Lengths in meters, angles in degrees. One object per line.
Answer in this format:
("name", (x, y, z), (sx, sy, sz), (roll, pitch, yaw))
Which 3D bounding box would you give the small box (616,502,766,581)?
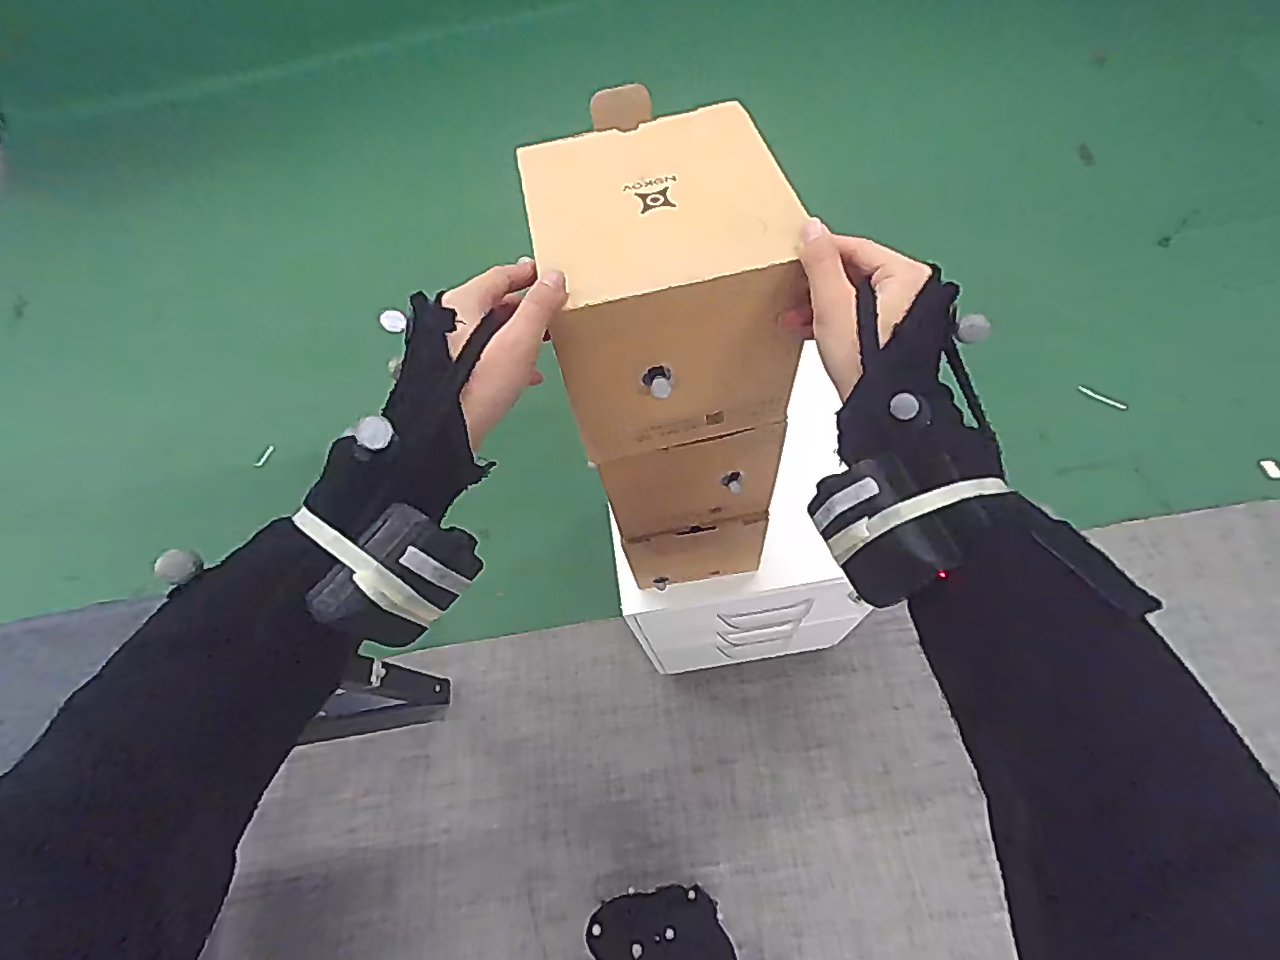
("small box", (0.056, 0.020, 0.695), (0.168, 0.176, 0.179), (-9, 60, 1))

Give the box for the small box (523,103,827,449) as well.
("small box", (0.020, -0.140, 0.415), (0.168, 0.176, 0.179), (-13, 60, -2))

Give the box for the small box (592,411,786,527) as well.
("small box", (0.037, -0.065, 0.557), (0.168, 0.176, 0.179), (-11, 59, -1))
